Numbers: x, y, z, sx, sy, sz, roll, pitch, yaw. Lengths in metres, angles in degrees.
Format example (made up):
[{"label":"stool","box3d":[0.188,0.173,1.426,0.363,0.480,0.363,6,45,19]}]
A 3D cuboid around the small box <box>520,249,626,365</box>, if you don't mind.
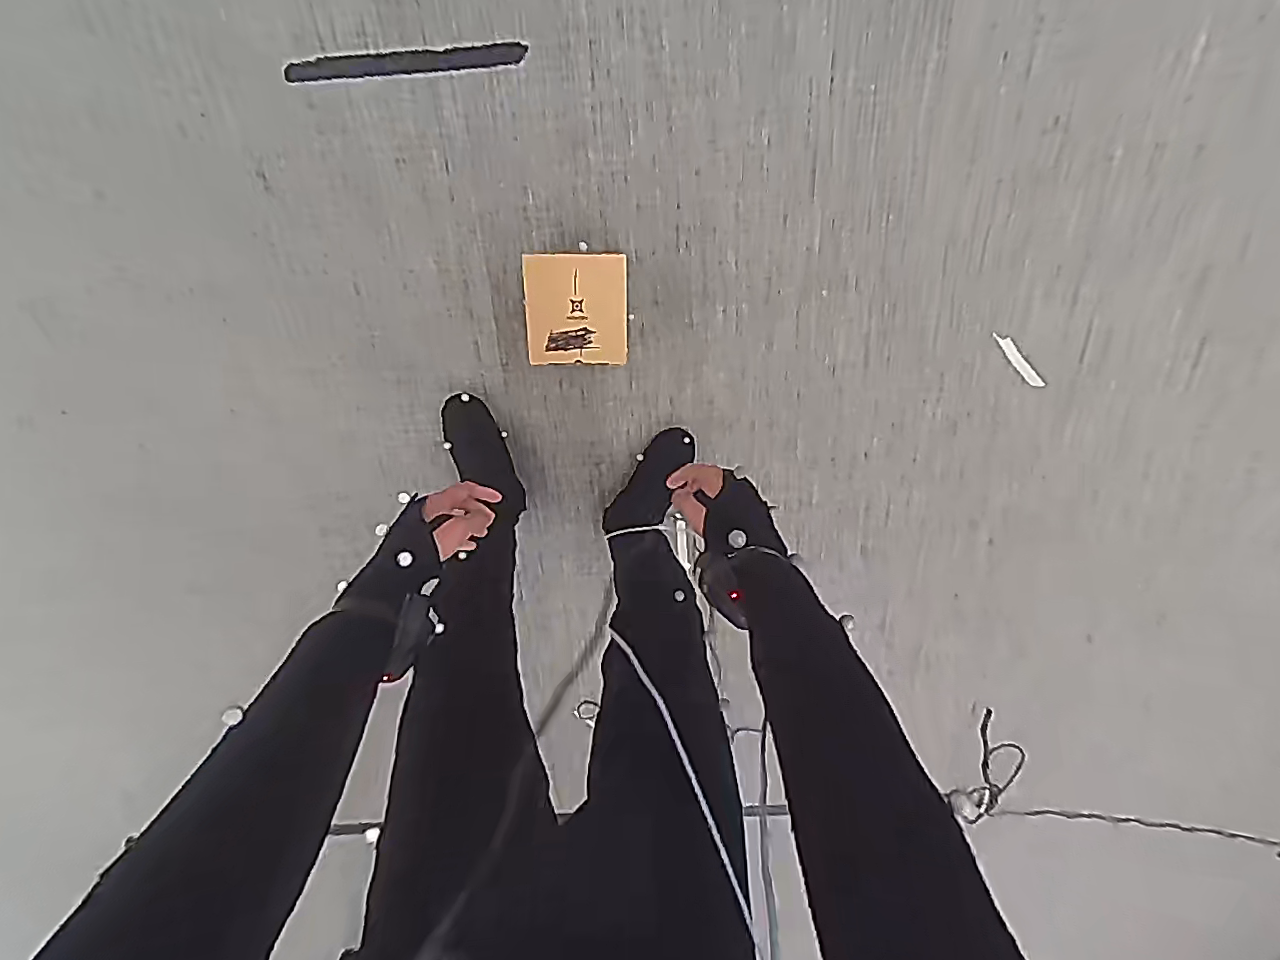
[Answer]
[{"label":"small box","box3d":[-0.108,-0.306,0.942,0.168,0.176,0.179,0,113,-2]}]
